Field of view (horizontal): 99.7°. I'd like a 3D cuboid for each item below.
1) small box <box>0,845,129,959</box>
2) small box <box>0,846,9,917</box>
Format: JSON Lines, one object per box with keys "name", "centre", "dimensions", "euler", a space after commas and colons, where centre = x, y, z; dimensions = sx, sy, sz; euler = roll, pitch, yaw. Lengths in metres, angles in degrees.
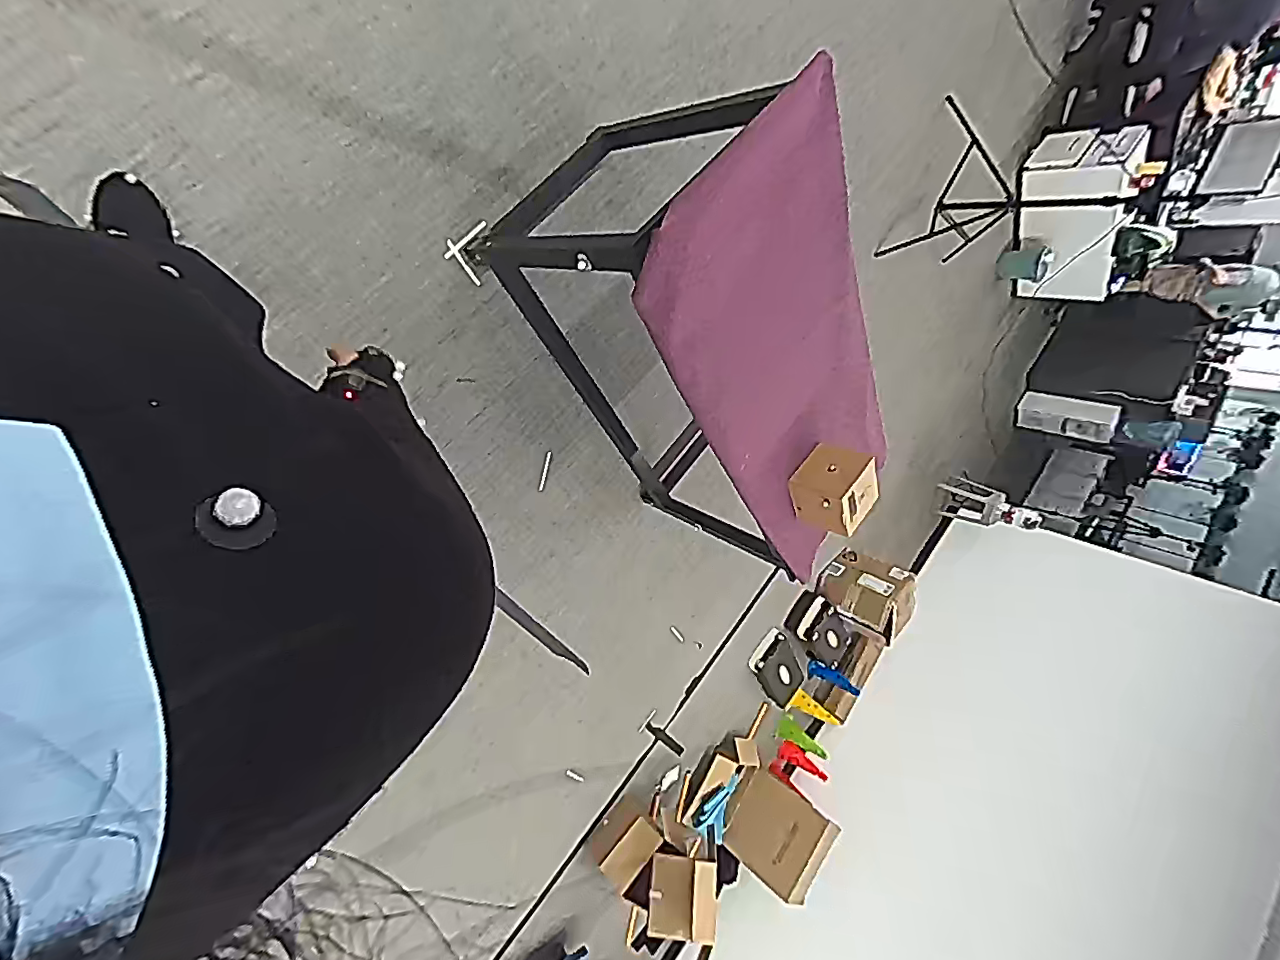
{"name": "small box", "centre": [-1.291, 0.952, 1.194], "dimensions": [0.179, 0.176, 0.168], "euler": [-51, 133, -15]}
{"name": "small box", "centre": [-1.395, 0.833, 1.043], "dimensions": [0.179, 0.176, 0.168], "euler": [-46, 134, -20]}
